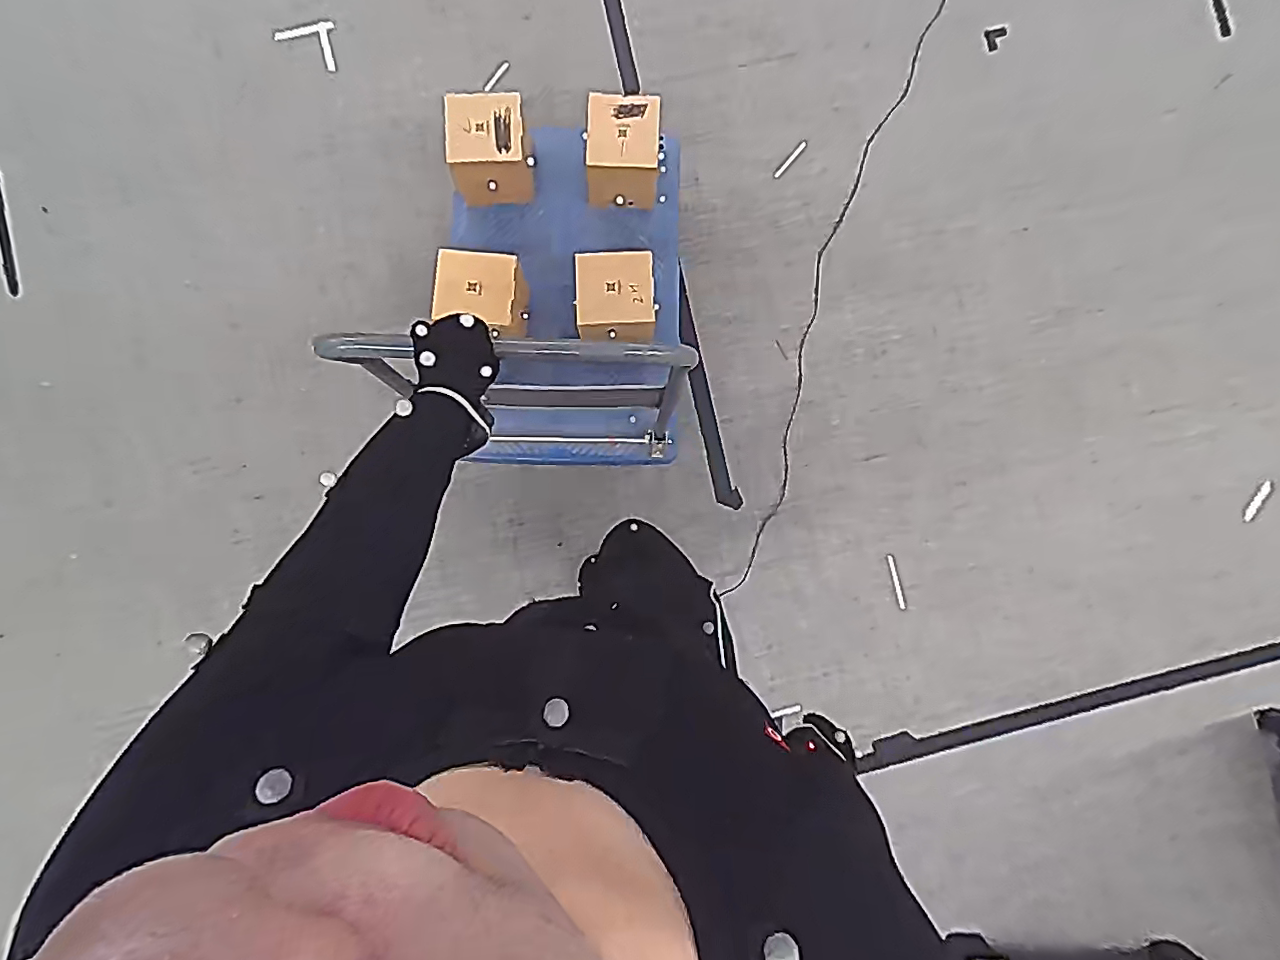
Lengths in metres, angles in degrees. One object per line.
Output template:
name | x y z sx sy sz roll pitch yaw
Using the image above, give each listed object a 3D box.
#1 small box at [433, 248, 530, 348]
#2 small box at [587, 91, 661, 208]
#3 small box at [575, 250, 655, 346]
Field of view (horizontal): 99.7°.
small box | -0.365 -0.420 1.272 0.179 0.176 0.168 4 85 -3
small box | -0.038 -0.792 1.307 0.168 0.176 0.179 2 87 -1
small box | -0.055 -0.422 1.278 0.179 0.176 0.168 -2 86 -1
